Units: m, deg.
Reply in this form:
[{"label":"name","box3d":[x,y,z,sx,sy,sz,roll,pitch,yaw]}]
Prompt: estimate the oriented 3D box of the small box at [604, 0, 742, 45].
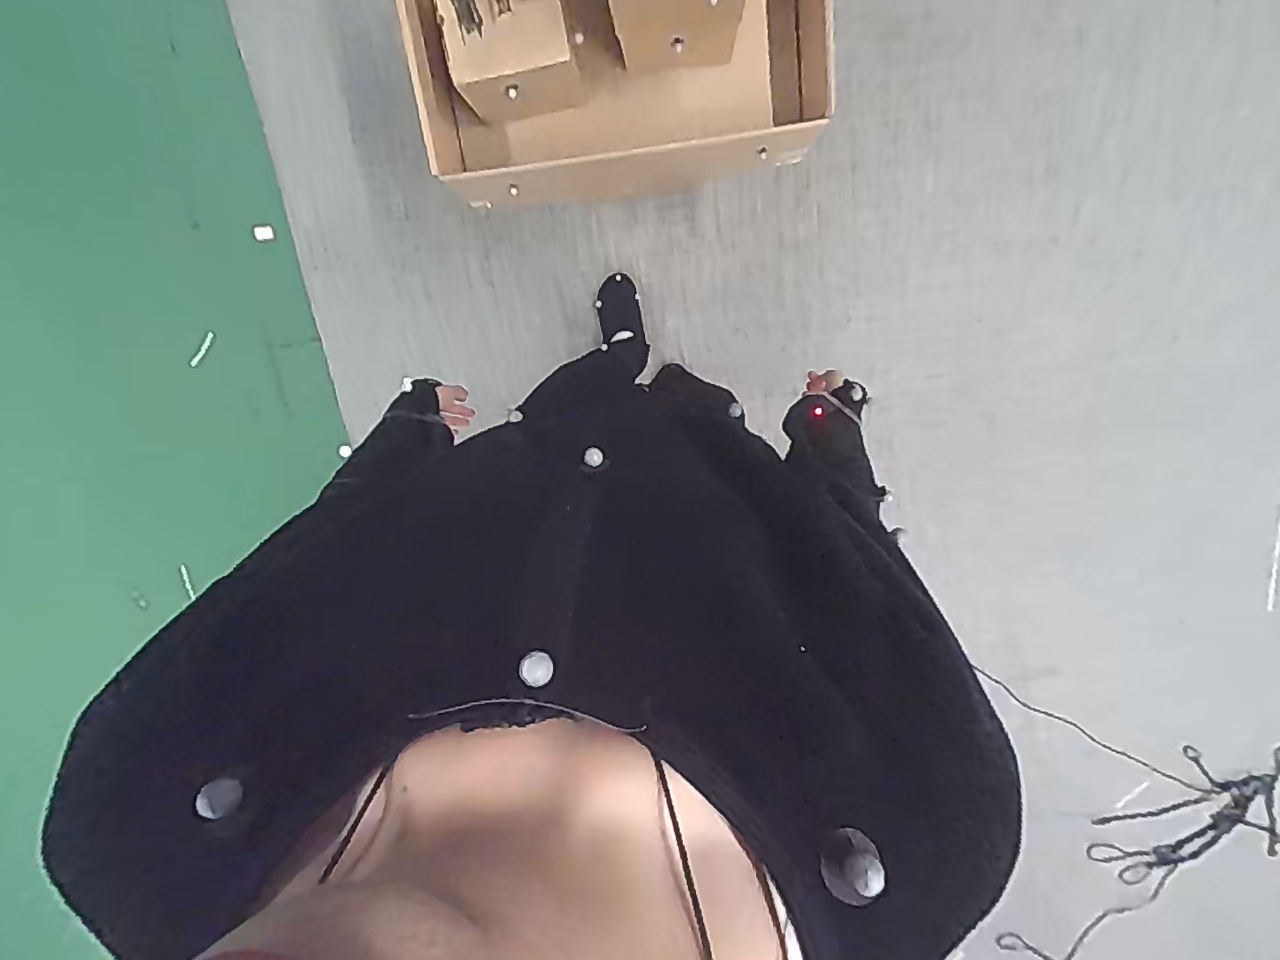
[{"label":"small box","box3d":[0.041,-0.664,0.650,0.179,0.176,0.168,-2,105,6]}]
